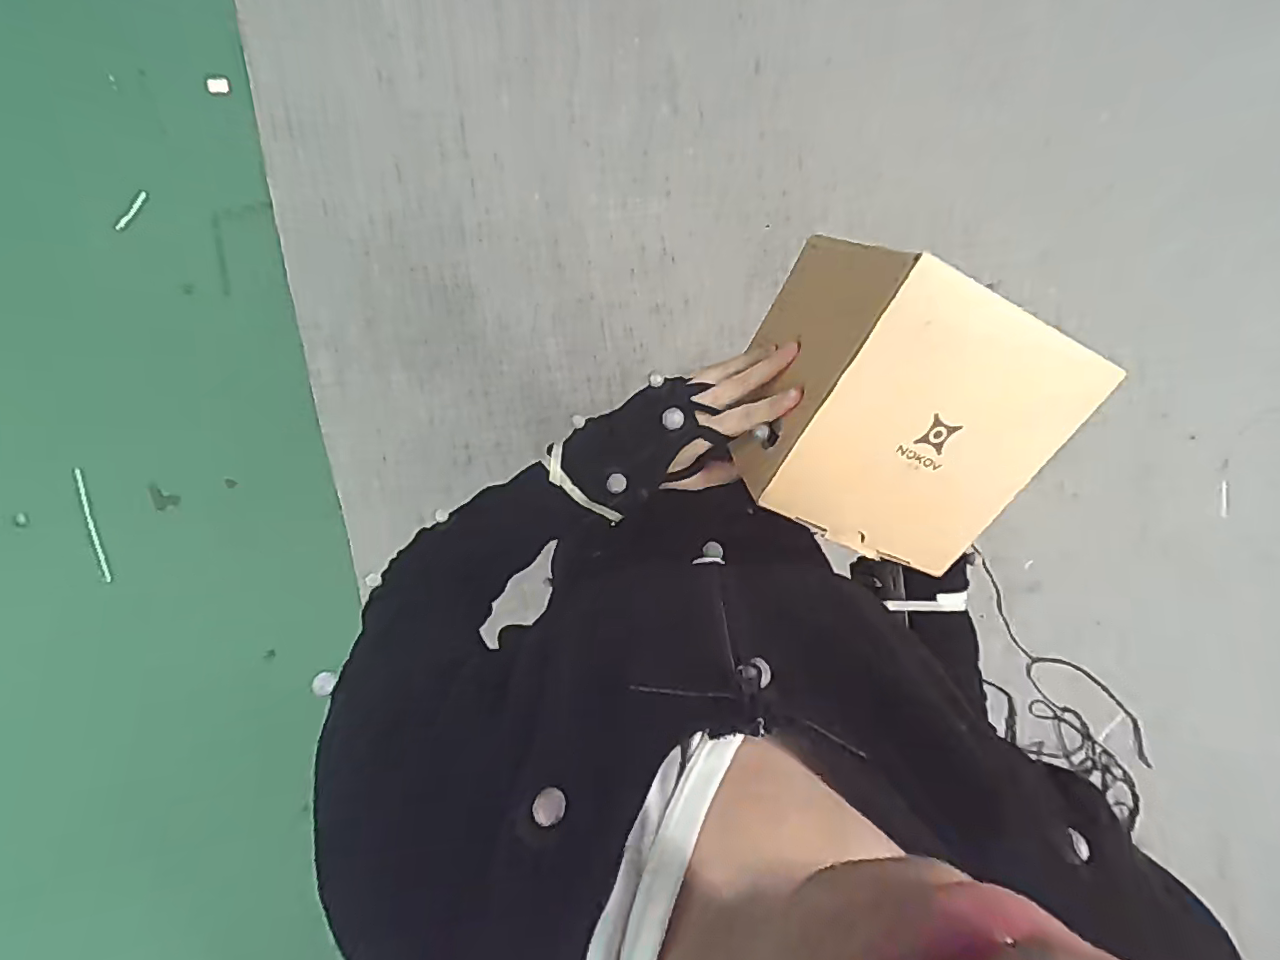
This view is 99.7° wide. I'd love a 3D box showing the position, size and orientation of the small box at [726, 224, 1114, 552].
[{"bbox_3d":[0.187,-0.080,0.425,0.168,0.176,0.179,21,115,-16],"label":"small box"}]
